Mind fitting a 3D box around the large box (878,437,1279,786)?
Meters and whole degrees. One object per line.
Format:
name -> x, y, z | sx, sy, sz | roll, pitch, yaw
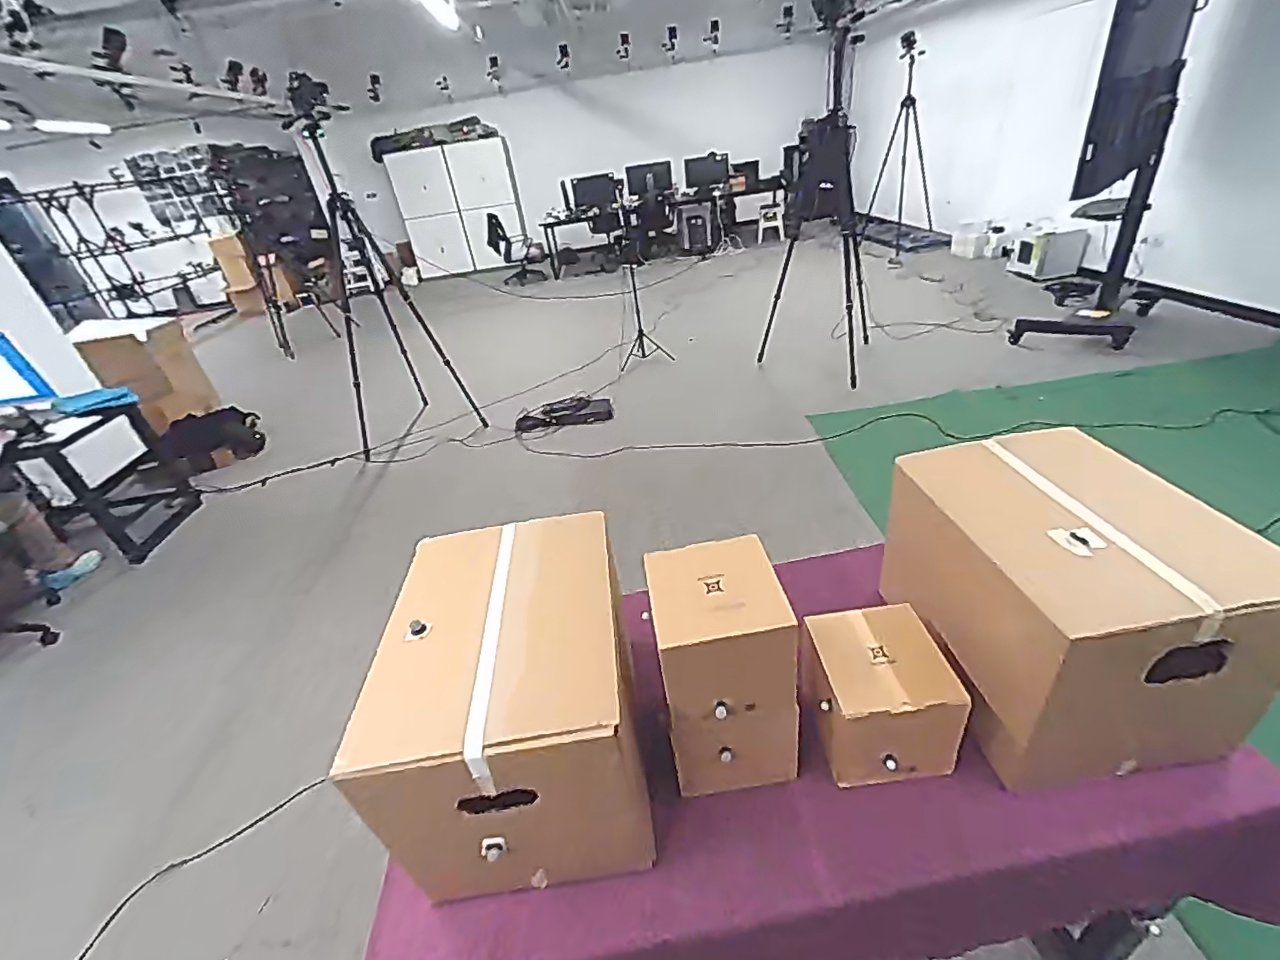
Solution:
large box -> 0.621, 0.177, 0.836 | 0.320, 0.320, 0.408 | -9, 33, 0
